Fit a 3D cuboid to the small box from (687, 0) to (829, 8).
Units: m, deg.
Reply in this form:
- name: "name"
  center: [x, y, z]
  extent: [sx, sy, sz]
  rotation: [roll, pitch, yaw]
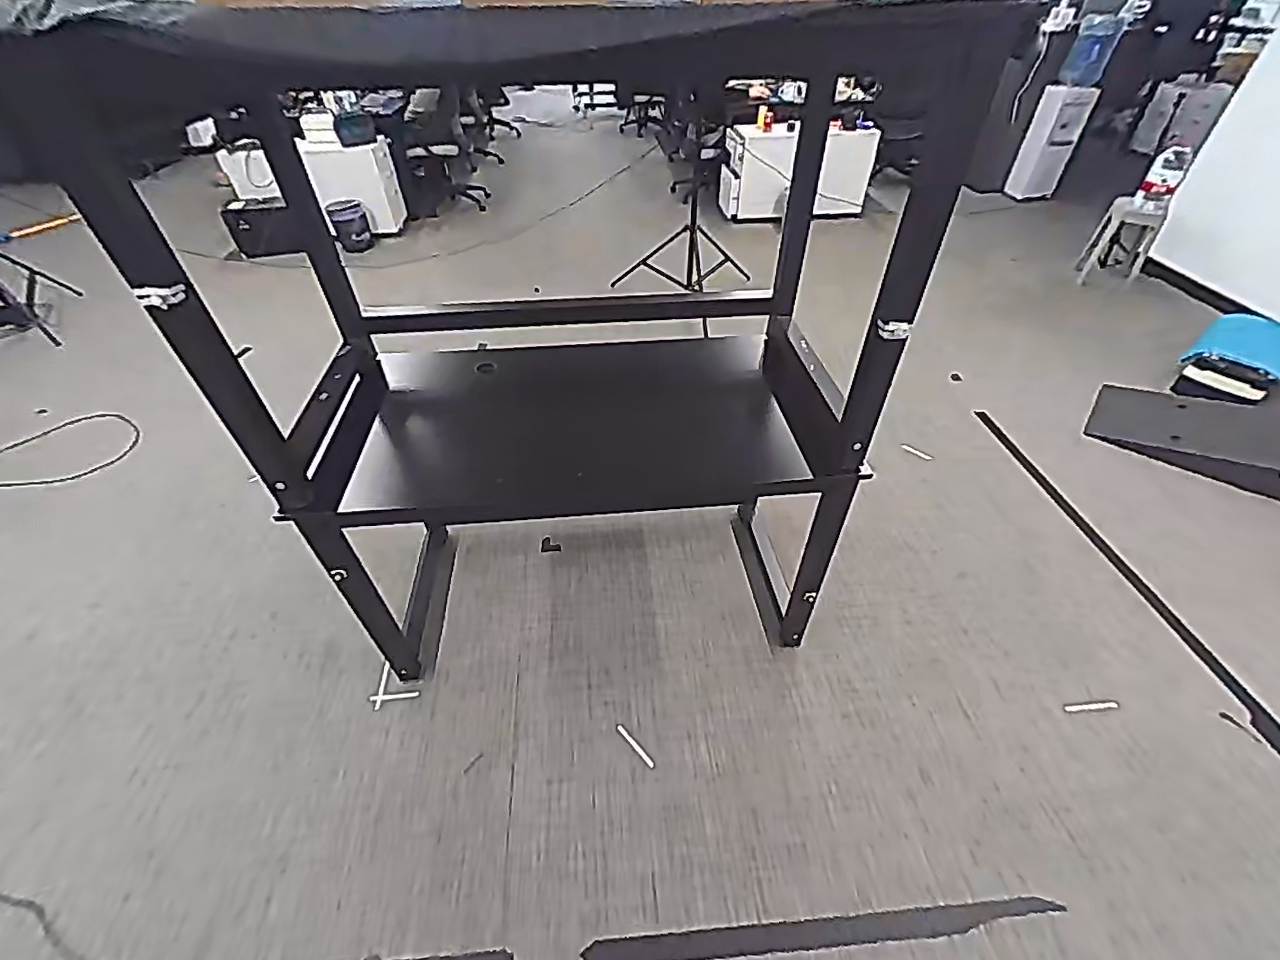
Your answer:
- name: "small box"
  center: [0.144, -0.680, 0.646]
  extent: [0.168, 0.176, 0.179]
  rotation: [-4, 43, -1]

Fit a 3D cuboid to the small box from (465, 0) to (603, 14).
- name: "small box"
  center: [-0.130, -0.660, 0.631]
  extent: [0.168, 0.176, 0.179]
  rotation: [-4, 41, -3]
